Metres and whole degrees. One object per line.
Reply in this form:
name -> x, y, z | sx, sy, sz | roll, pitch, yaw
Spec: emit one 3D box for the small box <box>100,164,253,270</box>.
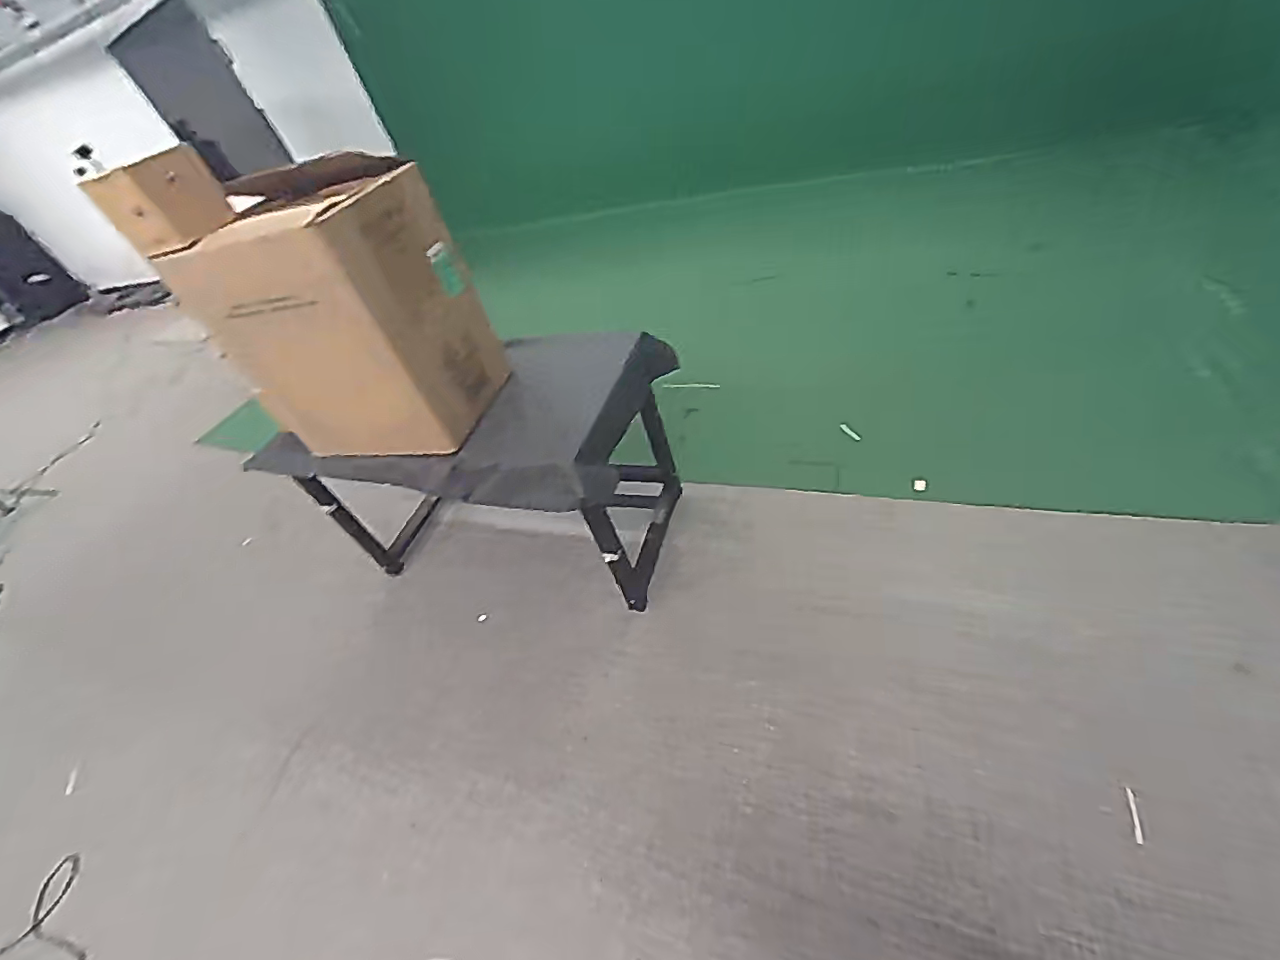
small box -> -1.071, -0.607, 1.266 | 0.168, 0.176, 0.179 | 0, 45, 22
